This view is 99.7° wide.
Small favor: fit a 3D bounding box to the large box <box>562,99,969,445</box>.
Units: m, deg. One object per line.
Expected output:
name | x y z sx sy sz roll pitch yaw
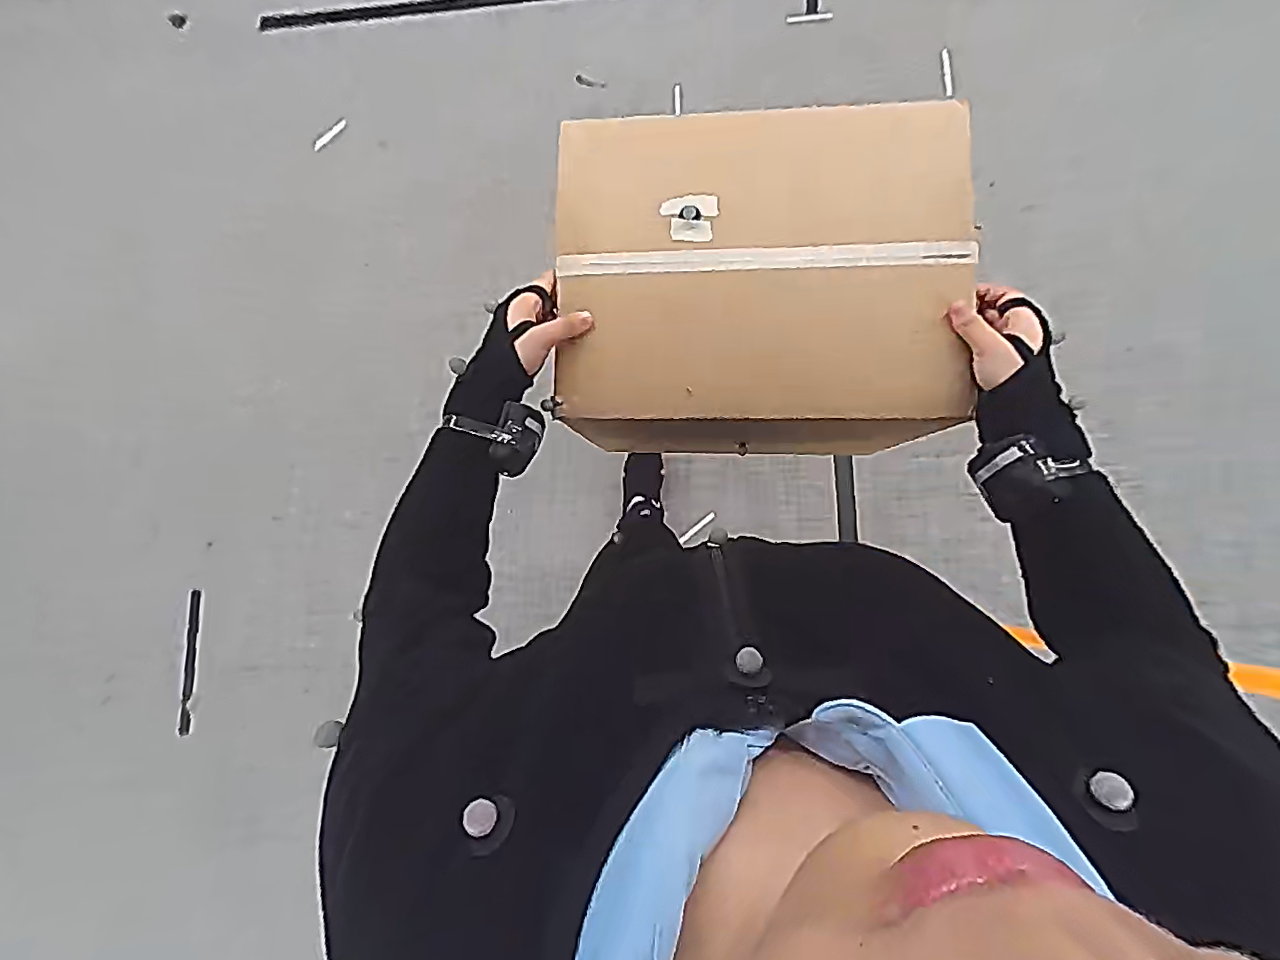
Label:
large box | 0.137 -0.214 0.692 0.408 0.320 0.320 1 86 7
